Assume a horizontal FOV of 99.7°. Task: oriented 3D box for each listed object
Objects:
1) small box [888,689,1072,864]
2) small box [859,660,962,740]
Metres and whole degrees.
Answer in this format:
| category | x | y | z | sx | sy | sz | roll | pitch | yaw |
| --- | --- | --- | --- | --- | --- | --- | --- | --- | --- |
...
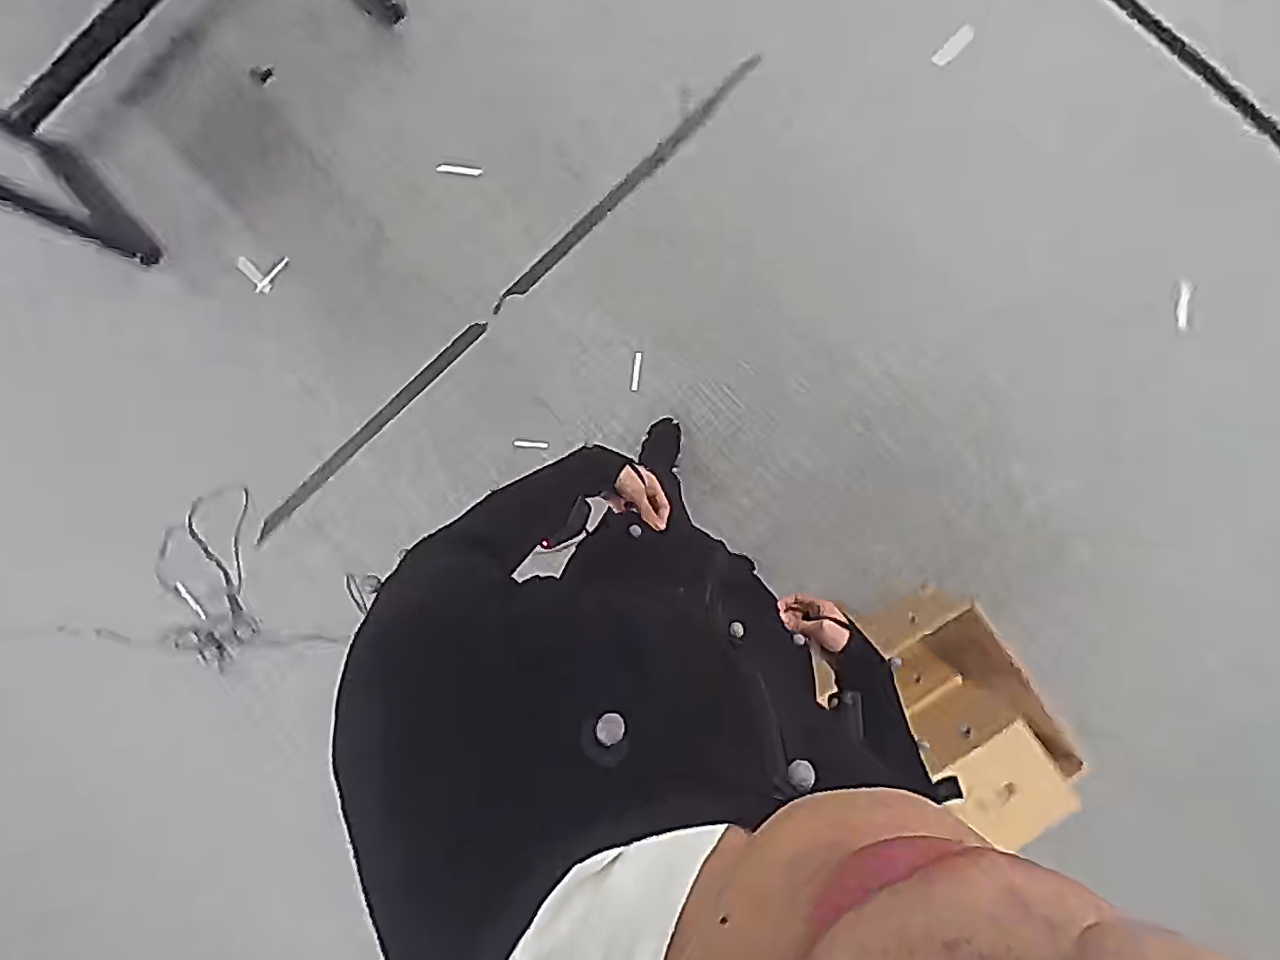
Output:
| category | x | y | z | sx | sy | sz | roll | pitch | yaw |
| --- | --- | --- | --- | --- | --- | --- | --- | --- | --- |
| small box | 0.573 | 0.499 | 0.939 | 0.179 | 0.176 | 0.168 | -34 | 88 | 3 |
| small box | 0.582 | 0.491 | 1.104 | 0.168 | 0.176 | 0.179 | -36 | 88 | 3 |
